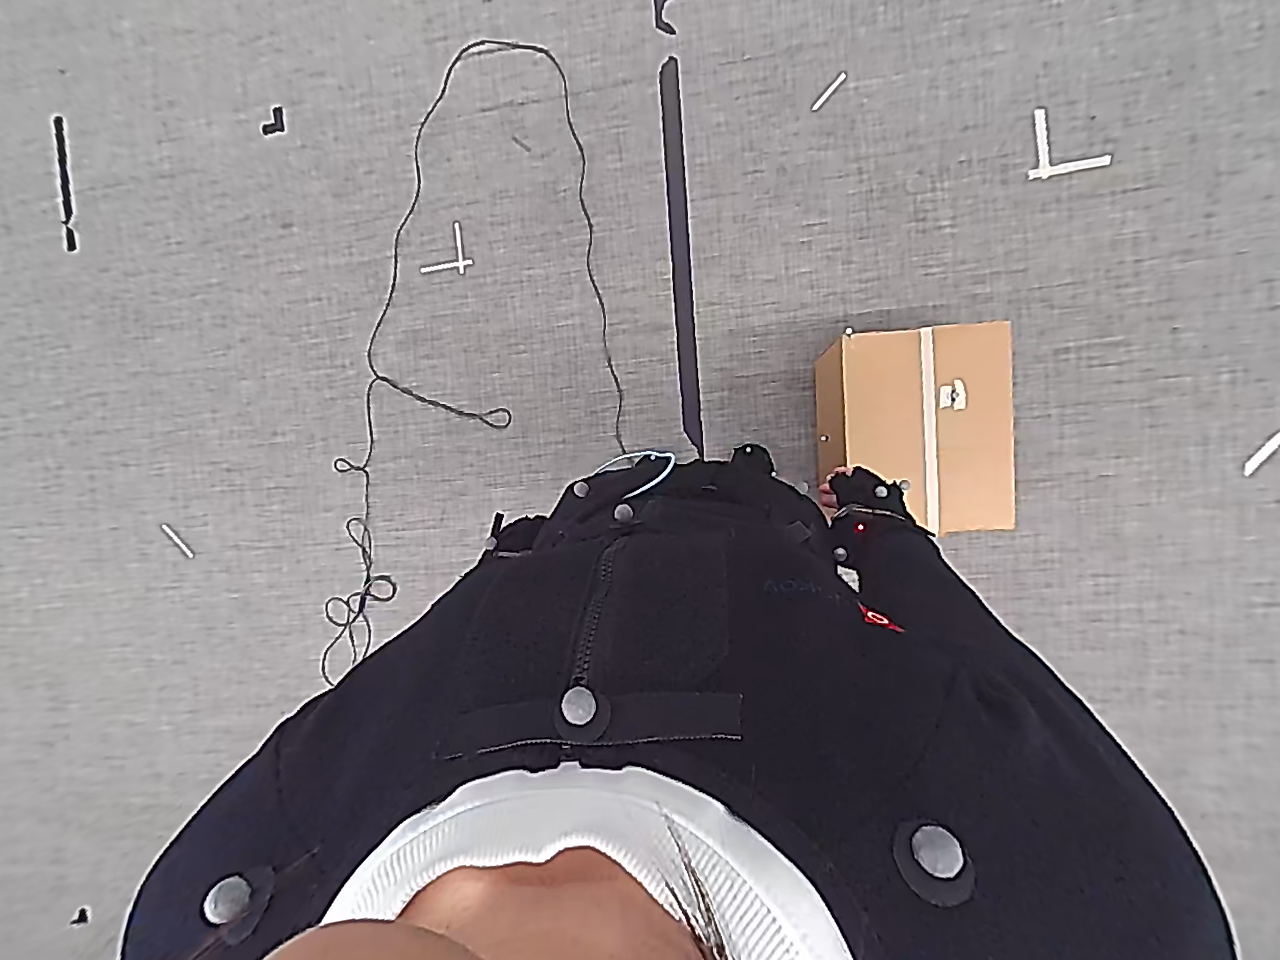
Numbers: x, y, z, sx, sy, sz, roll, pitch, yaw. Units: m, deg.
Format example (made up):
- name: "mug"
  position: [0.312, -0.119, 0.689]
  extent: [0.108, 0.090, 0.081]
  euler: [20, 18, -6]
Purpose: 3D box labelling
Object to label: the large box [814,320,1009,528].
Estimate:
- name: "large box"
  position: [0.587, -0.112, 1.231]
  extent: [0.320, 0.320, 0.408]
  euler: [-3, 92, 7]
